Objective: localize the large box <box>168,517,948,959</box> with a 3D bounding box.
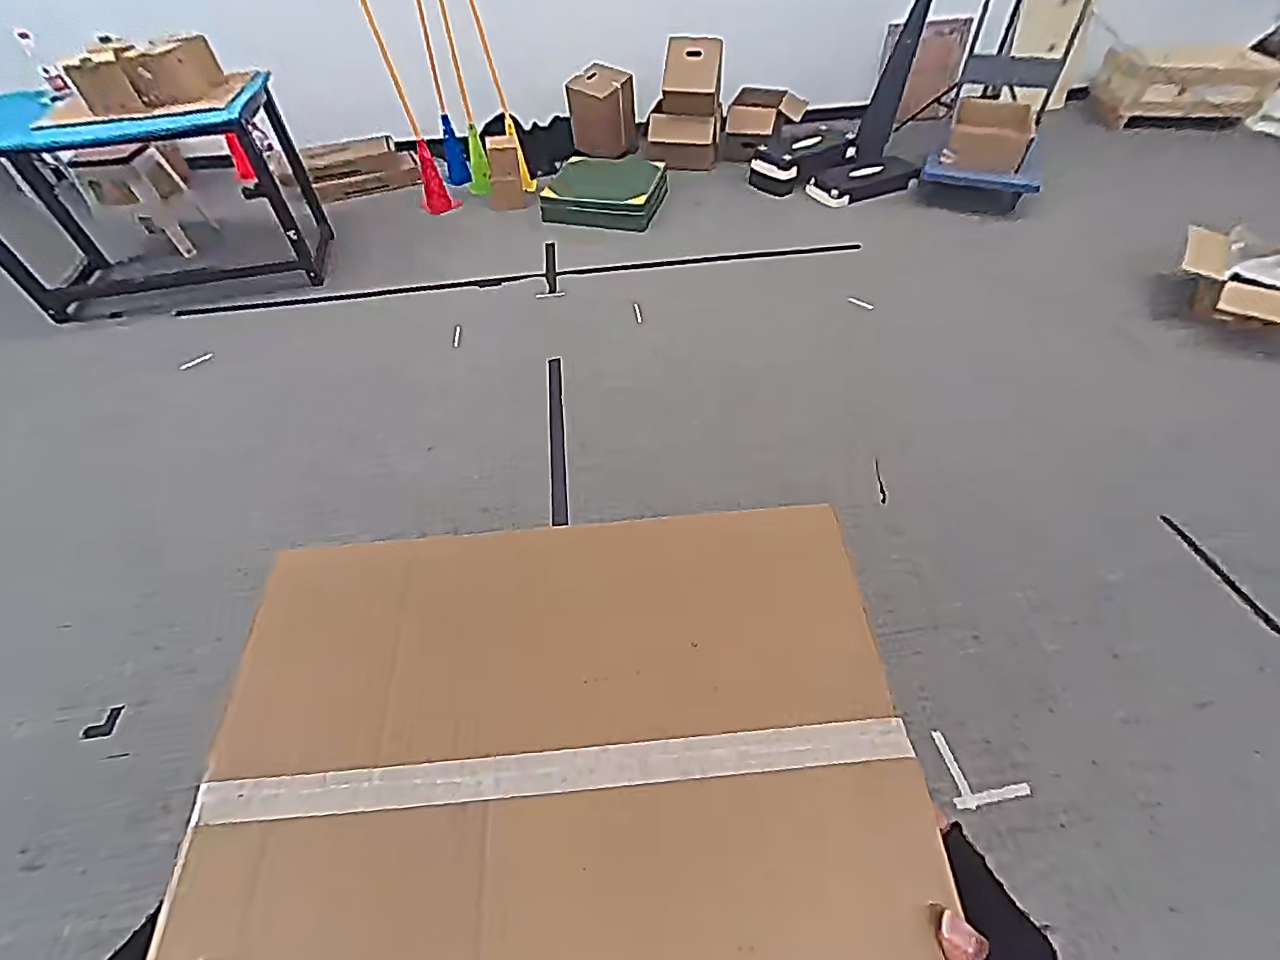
[{"bbox_3d":[-0.044,0.253,0.444,0.408,0.320,0.320,-5,57,0],"label":"large box"}]
